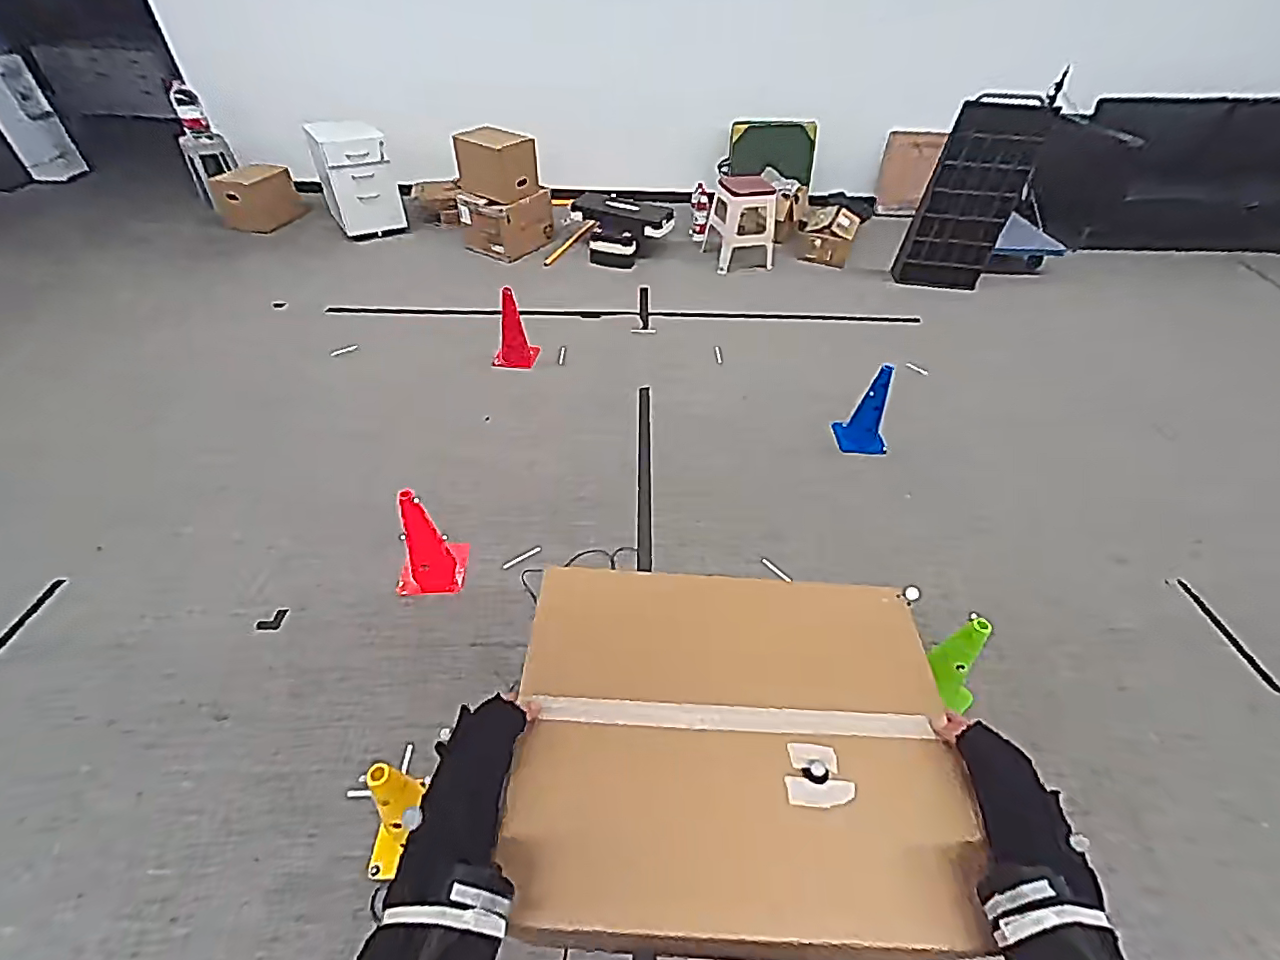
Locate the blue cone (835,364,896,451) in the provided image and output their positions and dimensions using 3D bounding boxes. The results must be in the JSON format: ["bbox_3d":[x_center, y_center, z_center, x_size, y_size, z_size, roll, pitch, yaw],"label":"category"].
[{"bbox_3d":[0.957,-0.310,2.228,0.192,0.380,0.193,4,45,0],"label":"blue cone"}]

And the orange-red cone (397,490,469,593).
[{"bbox_3d":[-0.671,0.166,1.659,0.198,0.360,0.199,-2,46,-3],"label":"orange-red cone"}]

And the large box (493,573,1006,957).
[{"bbox_3d":[0.079,0.327,0.618,0.408,0.320,0.320,3,47,-1],"label":"large box"}]

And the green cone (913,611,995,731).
[{"bbox_3d":[0.818,0.463,1.413,0.202,0.368,0.200,-27,52,-28],"label":"green cone"}]

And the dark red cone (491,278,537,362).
[{"bbox_3d":[-0.614,-0.761,2.569,0.201,0.394,0.202,6,45,2],"label":"dark red cone"}]
